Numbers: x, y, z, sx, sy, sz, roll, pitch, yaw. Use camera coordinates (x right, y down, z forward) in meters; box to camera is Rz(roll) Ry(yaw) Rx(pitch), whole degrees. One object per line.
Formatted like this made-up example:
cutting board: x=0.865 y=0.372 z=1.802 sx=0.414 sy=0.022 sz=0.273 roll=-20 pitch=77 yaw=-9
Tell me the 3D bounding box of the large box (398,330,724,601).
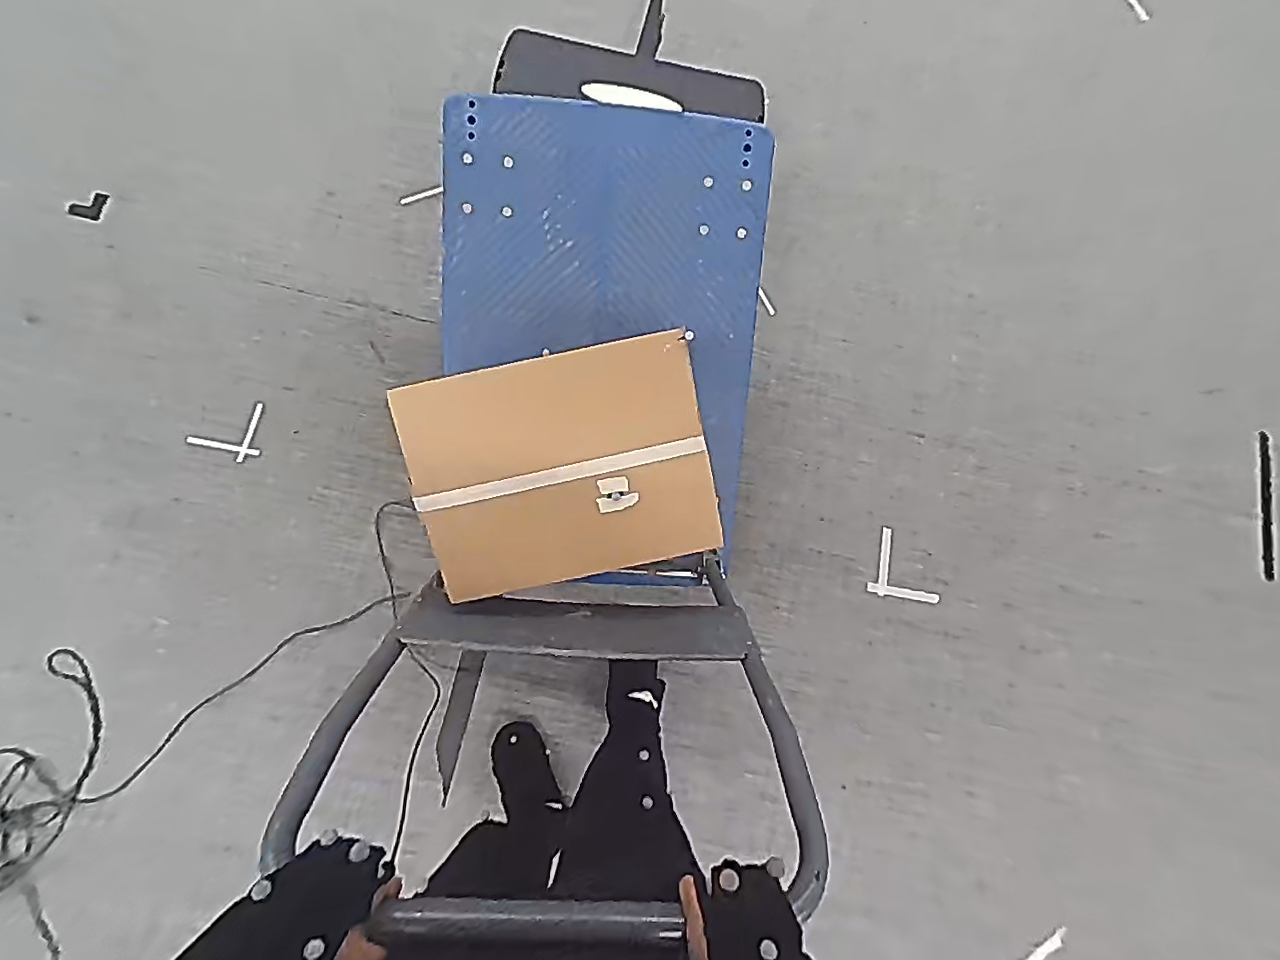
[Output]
large box: x=-0.112 y=-0.041 z=0.898 sx=0.408 sy=0.320 sz=0.320 roll=-12 pitch=103 yaw=-1
